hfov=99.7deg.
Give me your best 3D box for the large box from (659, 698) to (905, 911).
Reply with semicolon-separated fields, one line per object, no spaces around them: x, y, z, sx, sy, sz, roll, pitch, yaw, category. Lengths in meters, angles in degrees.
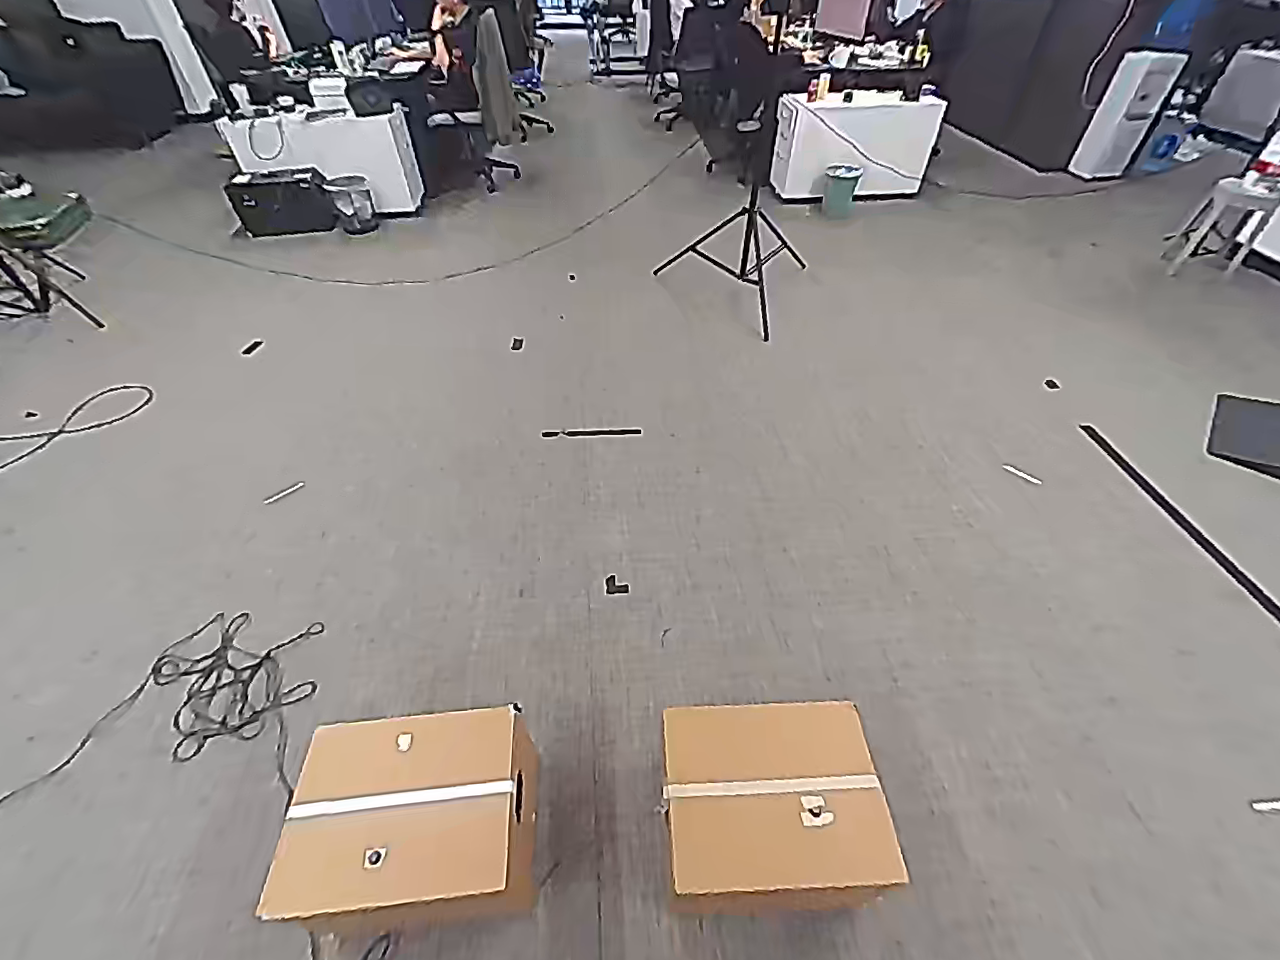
0.255;0.683;1.138;0.408;0.320;0.320;-1;46;-2;large box
